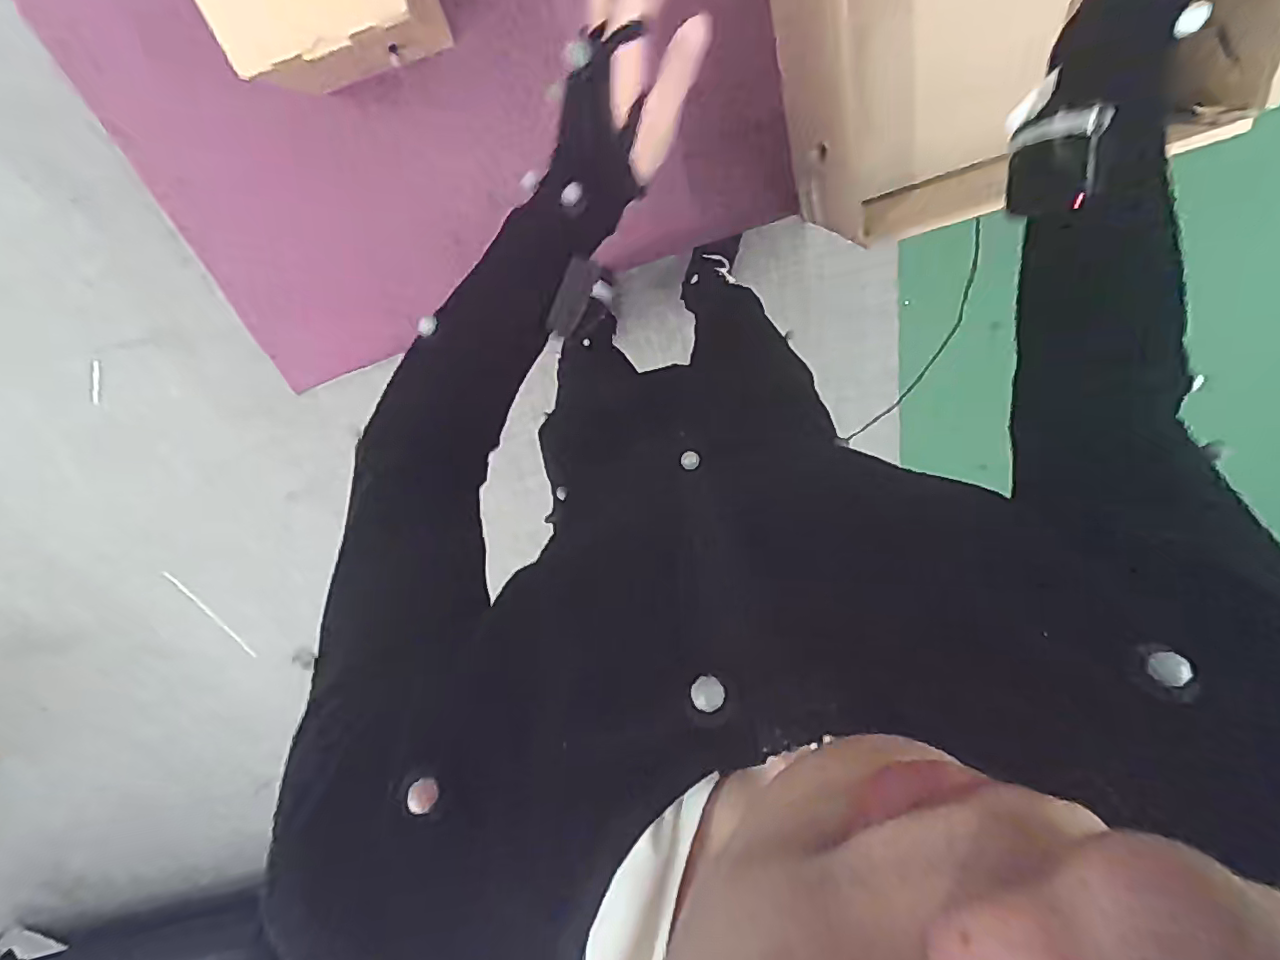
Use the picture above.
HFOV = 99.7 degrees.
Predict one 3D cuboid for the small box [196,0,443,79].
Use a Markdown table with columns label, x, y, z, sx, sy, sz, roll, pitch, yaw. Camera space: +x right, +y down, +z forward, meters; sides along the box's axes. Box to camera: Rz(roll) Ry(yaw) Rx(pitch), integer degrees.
| label | x | y | z | sx | sy | sz | roll | pitch | yaw |
| --- | --- | --- | --- | --- | --- | --- | --- | --- | --- |
| small box | -0.303 | -0.489 | 0.489 | 0.168 | 0.176 | 0.179 | -15 | 122 | 5 |
